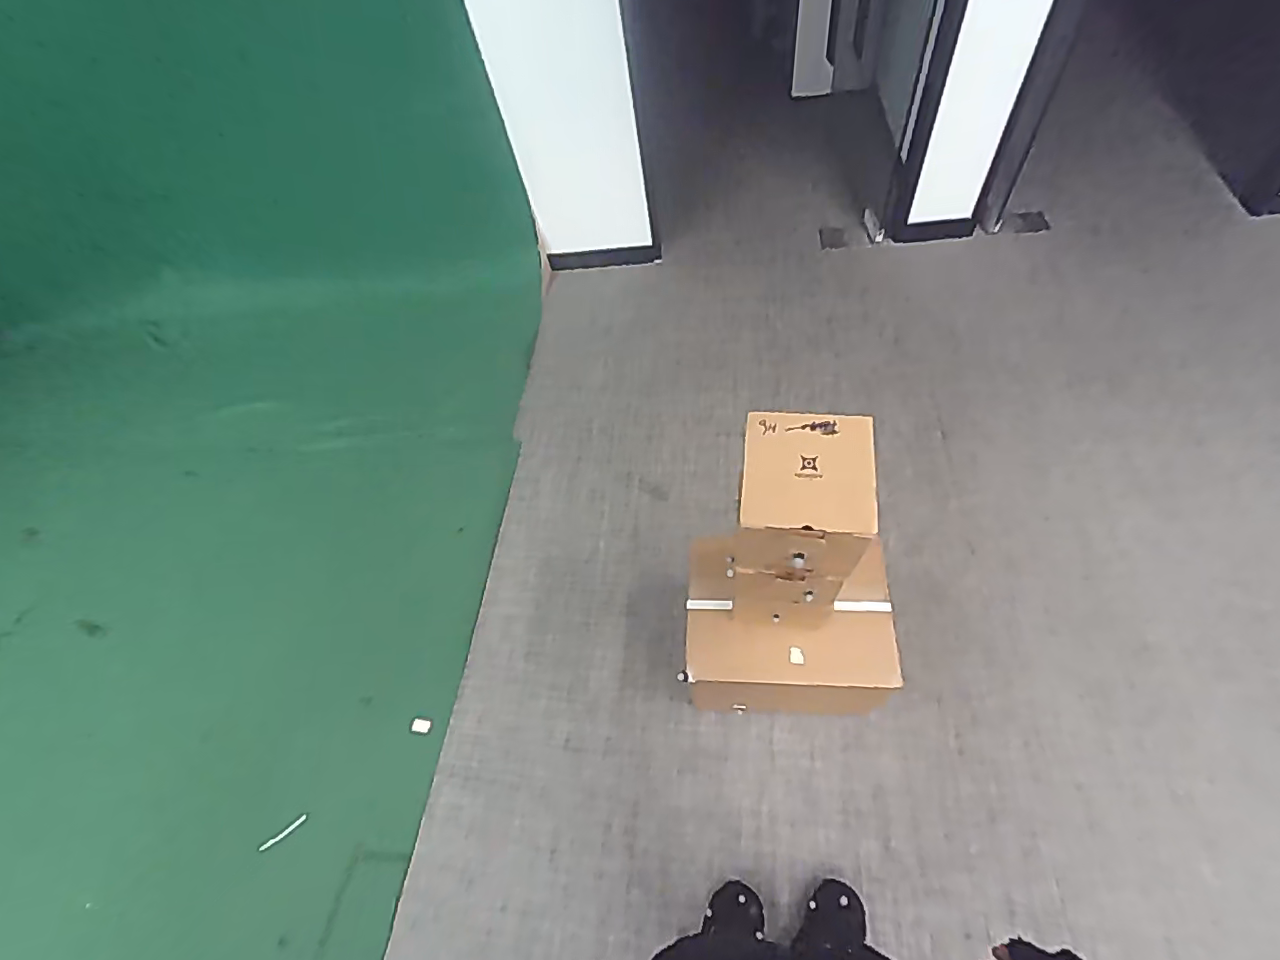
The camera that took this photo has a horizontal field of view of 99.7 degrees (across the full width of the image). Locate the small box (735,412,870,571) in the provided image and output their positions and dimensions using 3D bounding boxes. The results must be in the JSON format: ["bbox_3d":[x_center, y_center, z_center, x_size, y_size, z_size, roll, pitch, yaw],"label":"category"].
[{"bbox_3d":[0.226,0.022,0.778,0.168,0.176,0.179,4,64,11],"label":"small box"}]

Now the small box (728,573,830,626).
[{"bbox_3d":[0.269,0.178,1.057,0.179,0.176,0.168,5,62,13],"label":"small box"}]

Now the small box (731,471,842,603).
[{"bbox_3d":[0.241,0.101,0.920,0.168,0.176,0.179,2,62,10],"label":"small box"}]
